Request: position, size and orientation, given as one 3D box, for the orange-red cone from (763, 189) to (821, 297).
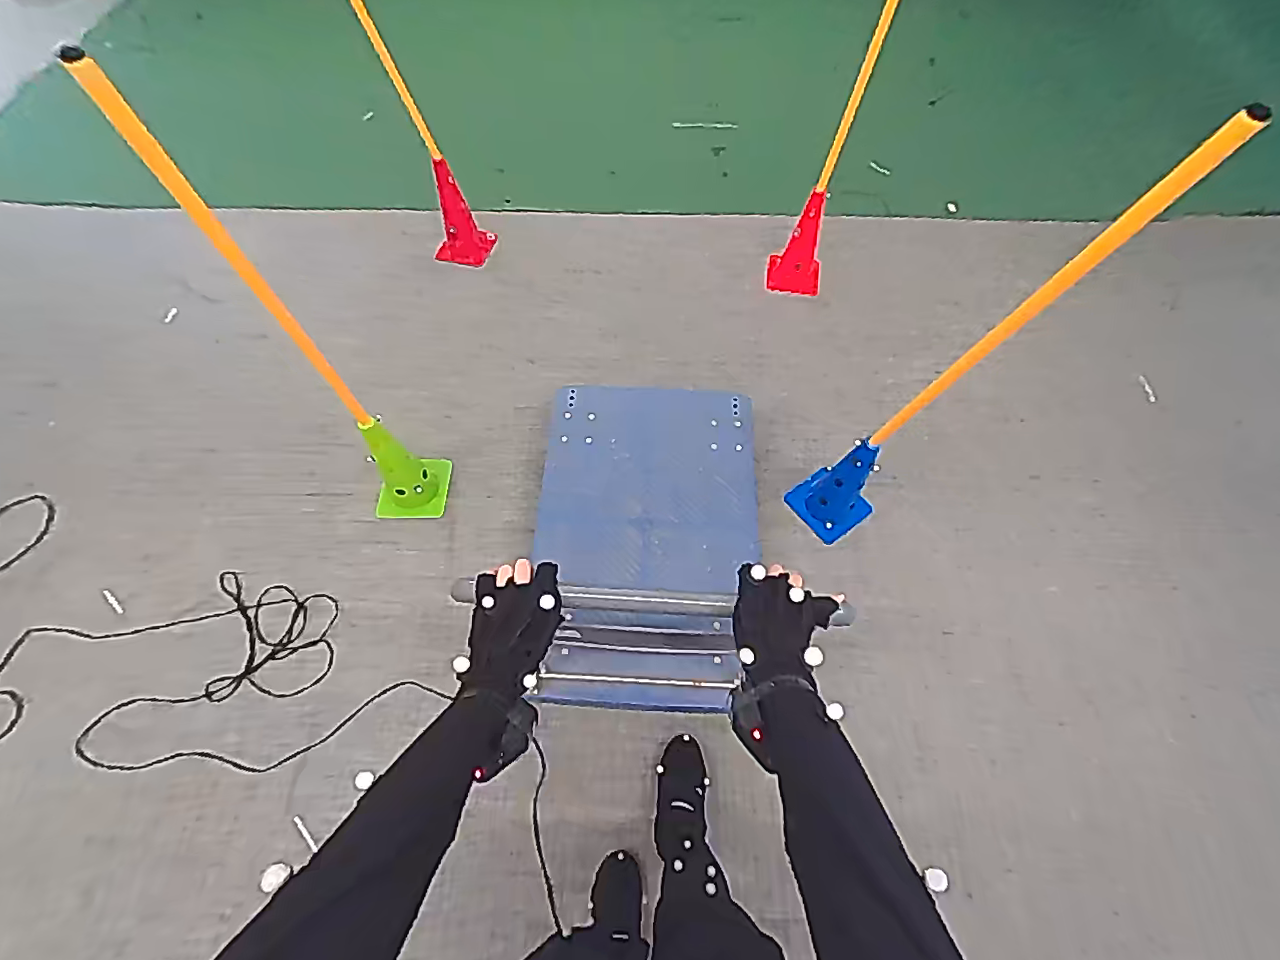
[{"bbox_3d":[0.583,-0.867,1.944,0.198,0.360,0.199,10,63,6],"label":"orange-red cone"}]
